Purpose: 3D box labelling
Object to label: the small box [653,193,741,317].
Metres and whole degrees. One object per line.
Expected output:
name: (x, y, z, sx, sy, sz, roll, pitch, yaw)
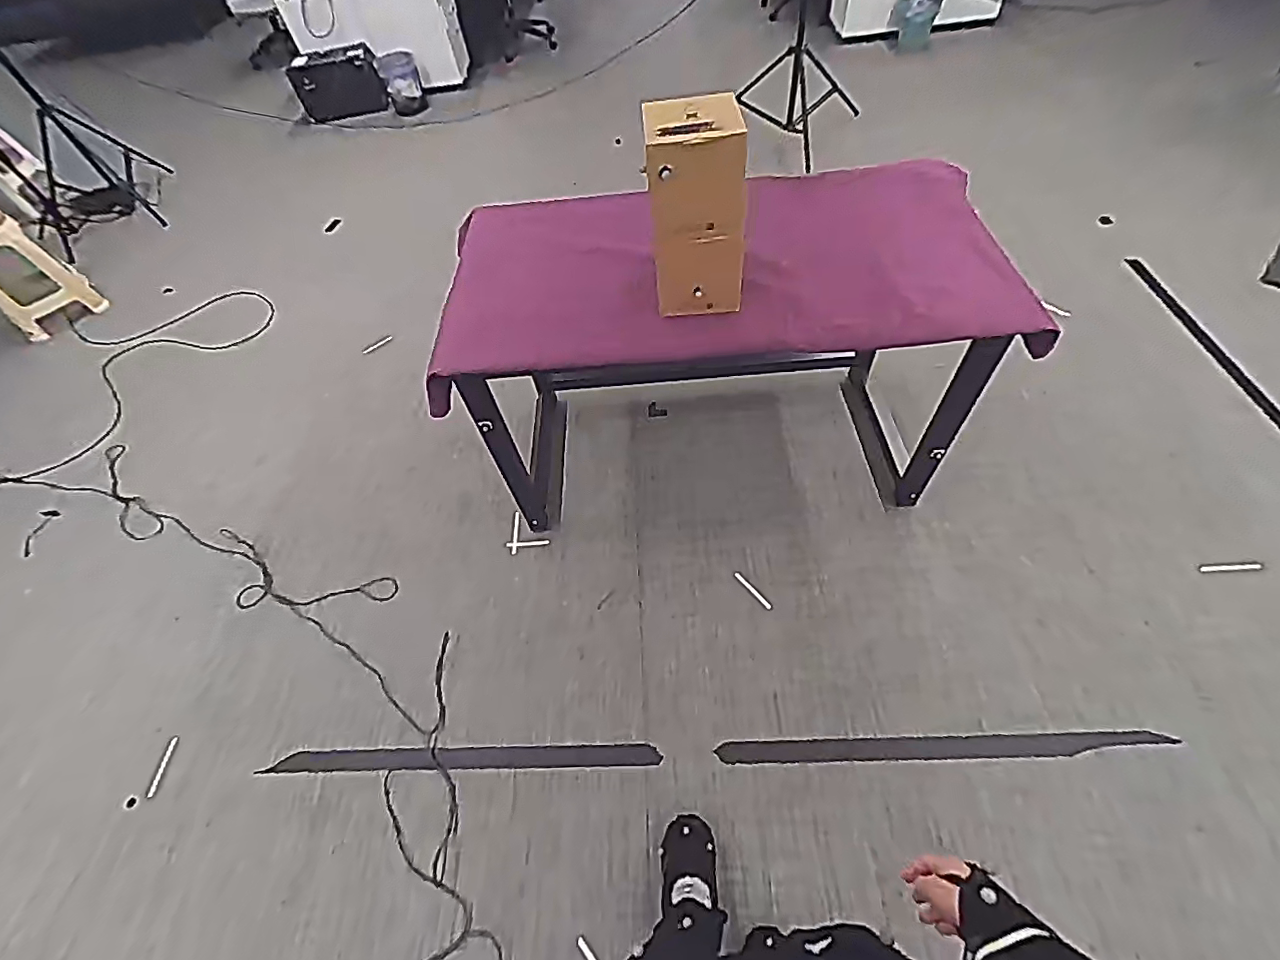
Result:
small box: (0.115, -0.458, 1.110, 0.168, 0.176, 0.179, -3, 54, 5)
